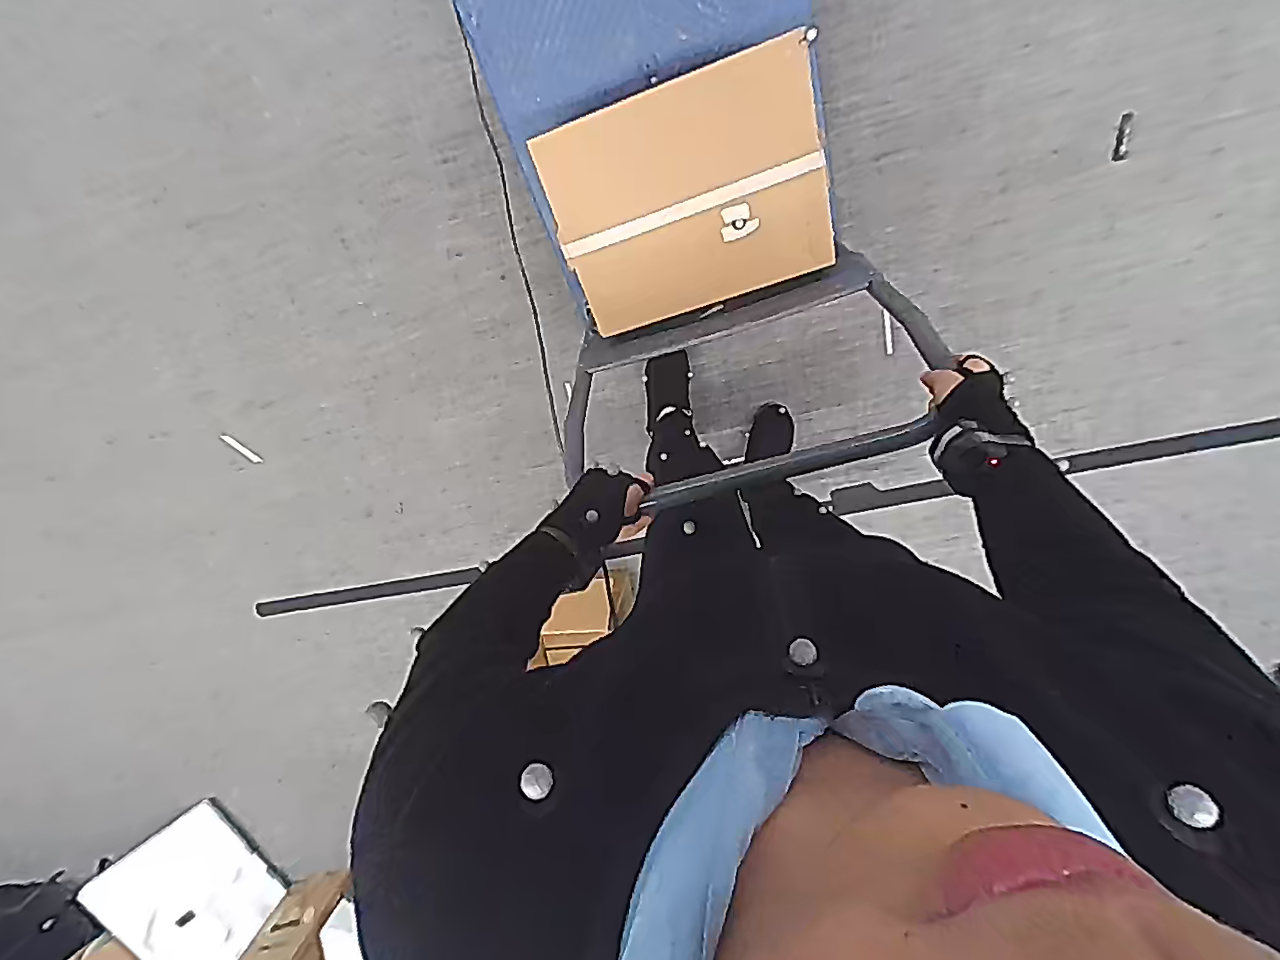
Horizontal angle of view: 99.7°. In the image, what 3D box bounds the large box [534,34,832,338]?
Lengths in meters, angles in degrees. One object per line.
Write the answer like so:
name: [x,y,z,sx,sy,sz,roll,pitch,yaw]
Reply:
large box: [0.077,-0.503,0.956,0.408,0.320,0.320,-16,124,11]
